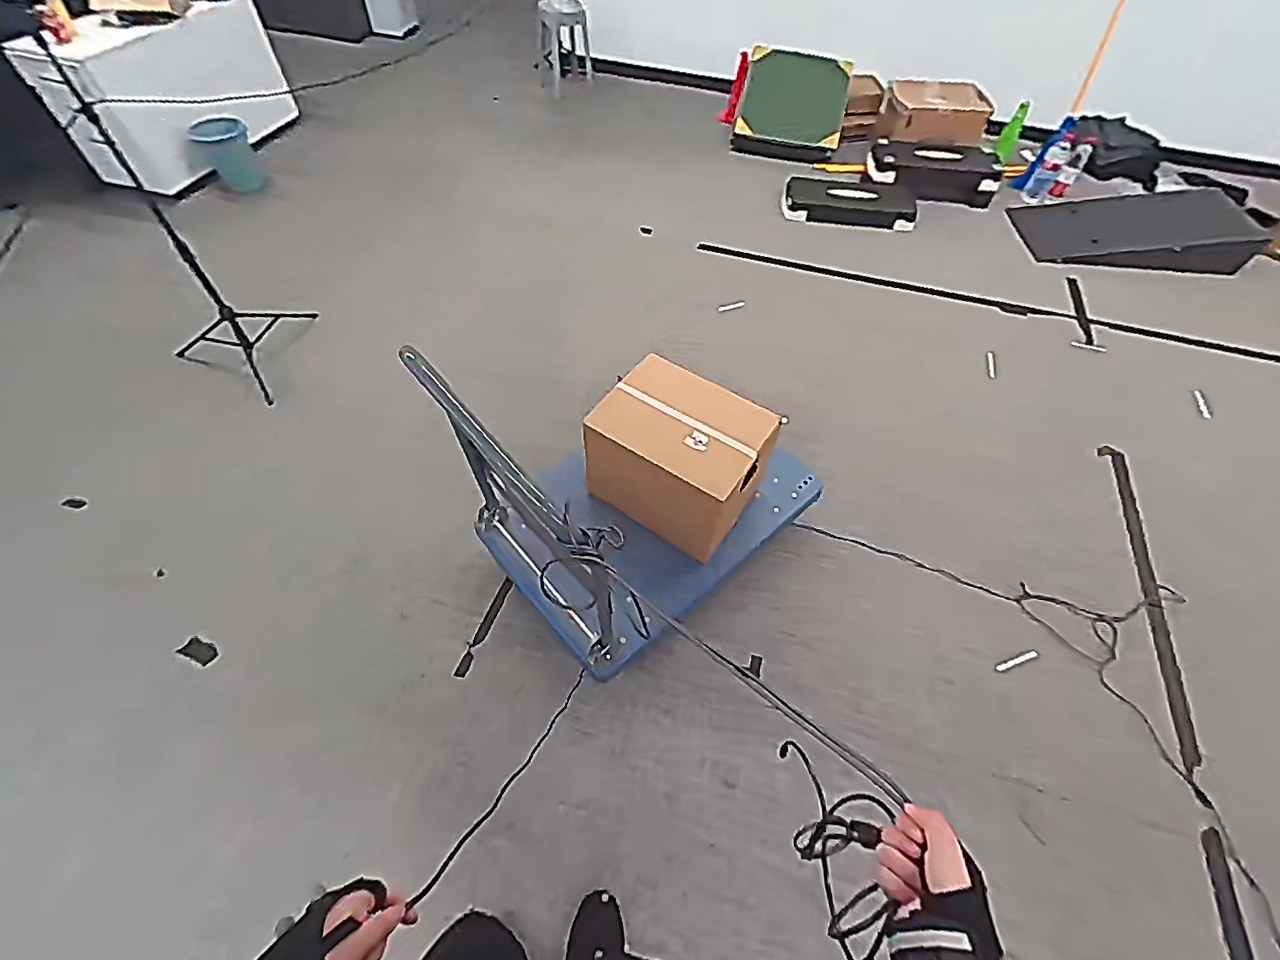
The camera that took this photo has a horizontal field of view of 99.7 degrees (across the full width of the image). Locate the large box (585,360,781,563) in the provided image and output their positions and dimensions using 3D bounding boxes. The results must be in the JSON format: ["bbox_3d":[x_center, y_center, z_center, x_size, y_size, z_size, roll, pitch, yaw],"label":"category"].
[{"bbox_3d":[0.101,-0.050,1.458,0.408,0.320,0.320,30,59,17],"label":"large box"}]
